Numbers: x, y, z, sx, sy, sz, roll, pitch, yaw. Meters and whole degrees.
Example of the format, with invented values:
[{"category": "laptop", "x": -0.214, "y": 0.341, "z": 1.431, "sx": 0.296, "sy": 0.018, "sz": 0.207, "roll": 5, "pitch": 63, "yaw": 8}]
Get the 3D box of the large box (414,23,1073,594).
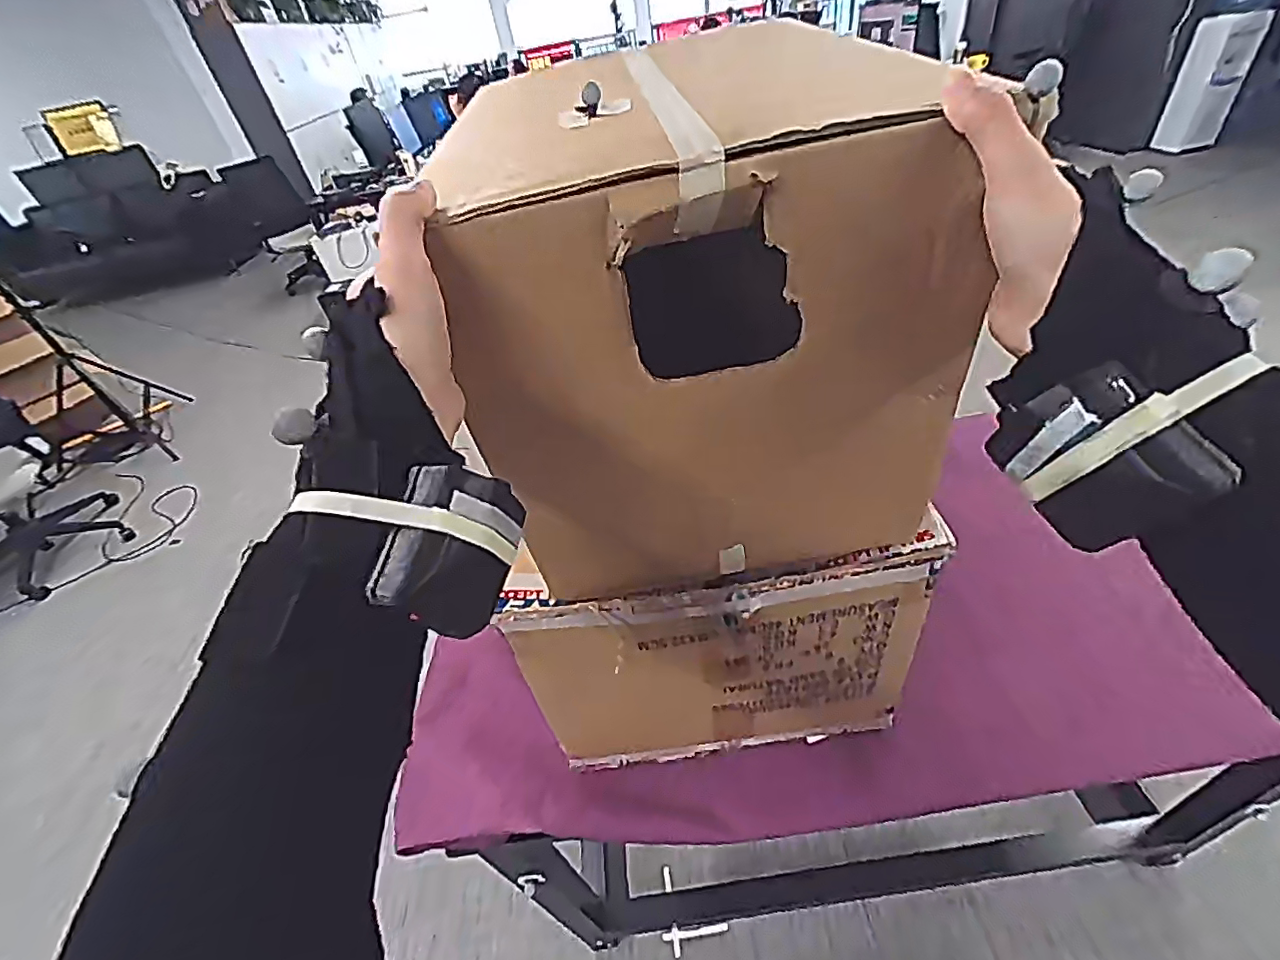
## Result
[{"category": "large box", "x": 0.044, "y": -0.168, "z": 0.487, "sx": 0.320, "sy": 0.320, "sz": 0.408, "roll": -11, "pitch": 45, "yaw": 3}]
